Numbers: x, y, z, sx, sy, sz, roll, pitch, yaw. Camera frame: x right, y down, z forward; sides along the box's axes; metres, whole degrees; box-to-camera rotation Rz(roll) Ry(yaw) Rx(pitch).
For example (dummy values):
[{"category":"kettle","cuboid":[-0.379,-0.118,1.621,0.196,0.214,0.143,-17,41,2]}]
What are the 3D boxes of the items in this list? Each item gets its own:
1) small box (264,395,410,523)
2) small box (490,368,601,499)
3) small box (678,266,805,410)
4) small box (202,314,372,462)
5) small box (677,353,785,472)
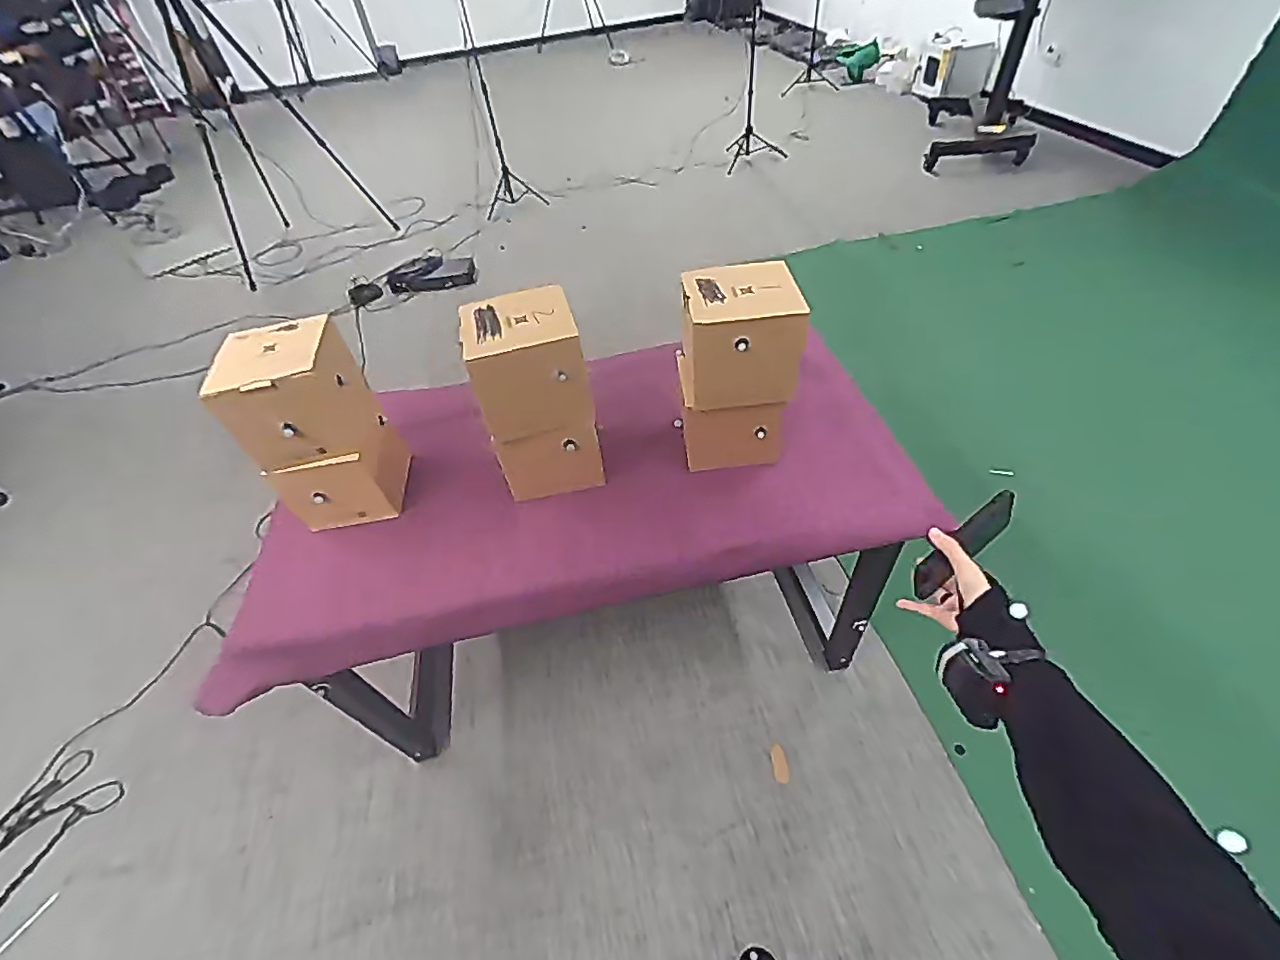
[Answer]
[{"category":"small box","cuboid":[-0.560,-0.033,1.030,0.168,0.176,0.179,-9,48,-1]},{"category":"small box","cuboid":[-0.173,-0.085,1.028,0.179,0.176,0.168,-10,48,-2]},{"category":"small box","cuboid":[0.161,-0.232,0.901,0.179,0.176,0.168,-5,47,1]},{"category":"small box","cuboid":[-0.576,-0.148,0.914,0.168,0.176,0.179,-13,48,-6]},{"category":"small box","cuboid":[0.165,-0.132,1.031,0.179,0.176,0.168,-6,47,3]}]
